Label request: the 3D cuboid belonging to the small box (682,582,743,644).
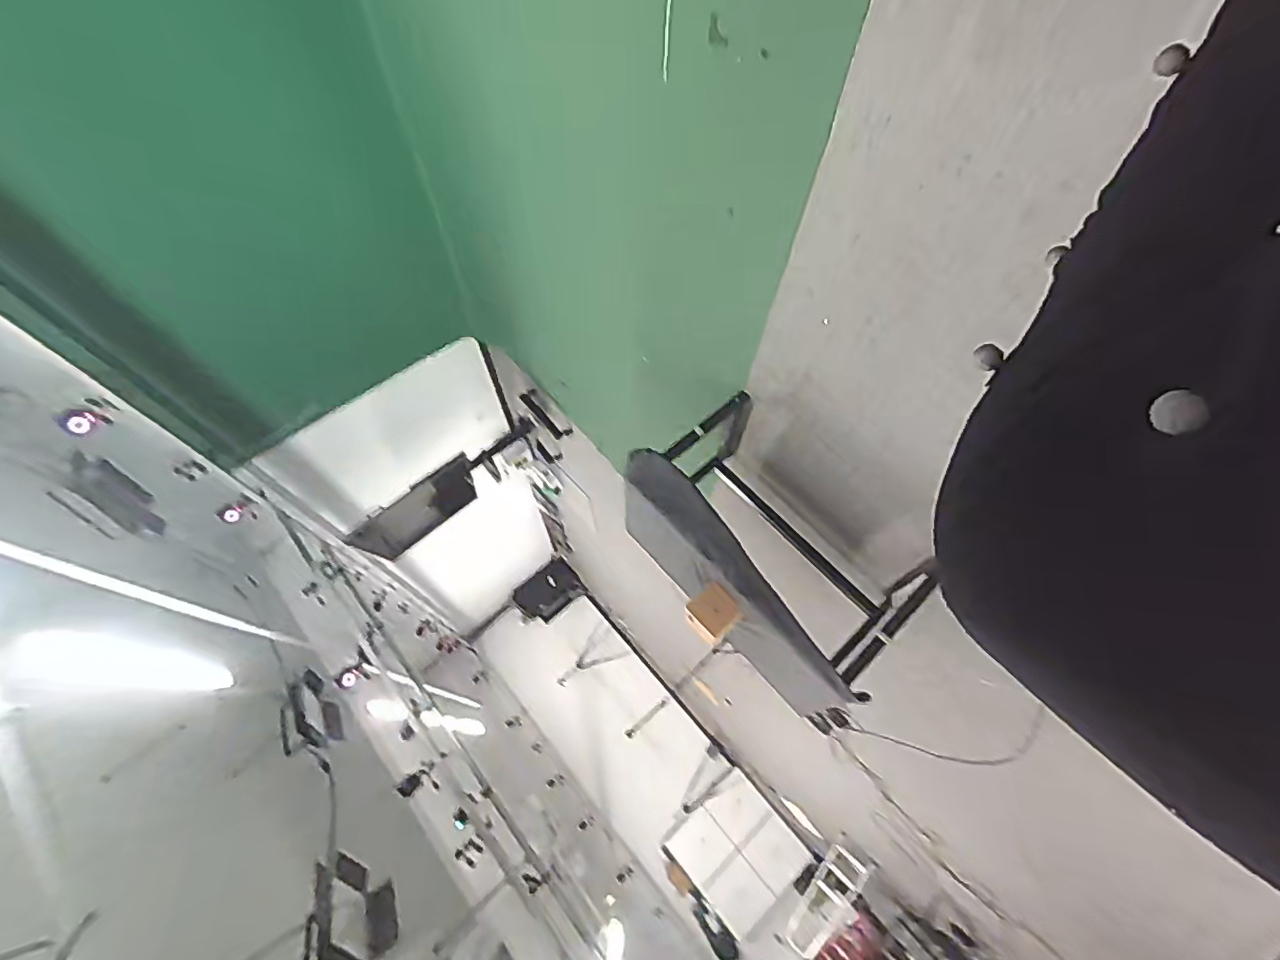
[{"bbox_3d":[0.297,0.544,2.241,0.179,0.176,0.168,43,160,21],"label":"small box"}]
